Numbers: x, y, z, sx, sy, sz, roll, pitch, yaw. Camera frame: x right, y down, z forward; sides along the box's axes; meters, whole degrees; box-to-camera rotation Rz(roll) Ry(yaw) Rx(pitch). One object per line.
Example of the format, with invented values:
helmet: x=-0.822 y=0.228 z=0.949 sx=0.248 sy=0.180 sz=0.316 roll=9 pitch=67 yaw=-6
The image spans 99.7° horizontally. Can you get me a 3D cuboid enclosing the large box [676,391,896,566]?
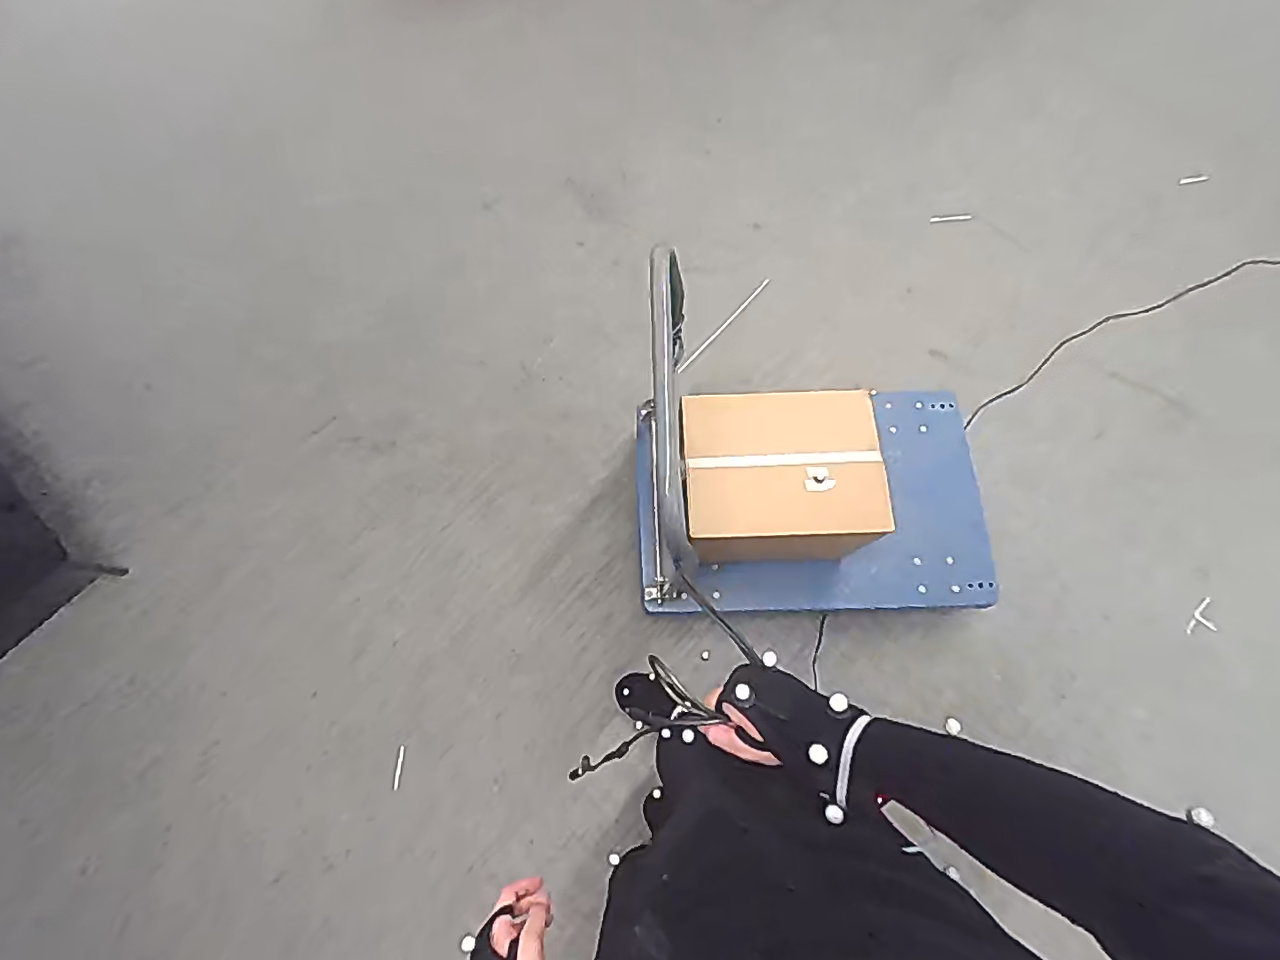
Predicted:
large box: x=0.297 y=0.011 z=1.240 sx=0.408 sy=0.320 sz=0.320 roll=-2 pitch=72 yaw=0
